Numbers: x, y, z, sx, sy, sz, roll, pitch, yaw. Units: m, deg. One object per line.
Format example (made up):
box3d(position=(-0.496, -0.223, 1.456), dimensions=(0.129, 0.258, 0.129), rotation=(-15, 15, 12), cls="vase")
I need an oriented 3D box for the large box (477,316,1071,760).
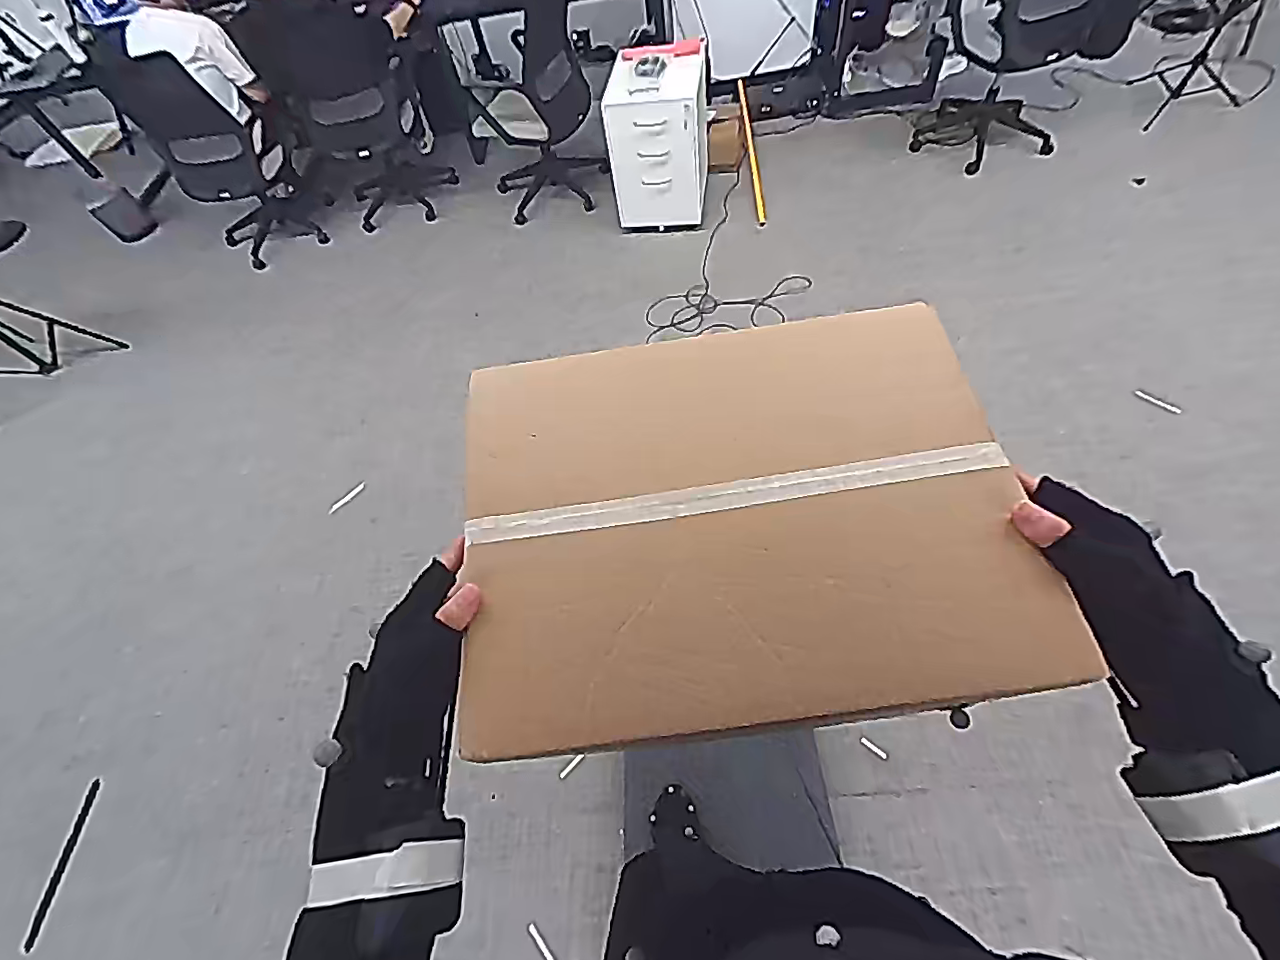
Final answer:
box3d(position=(0.084, 0.084, 0.554), dimensions=(0.408, 0.320, 0.320), rotation=(-9, 63, 2), cls="large box")
